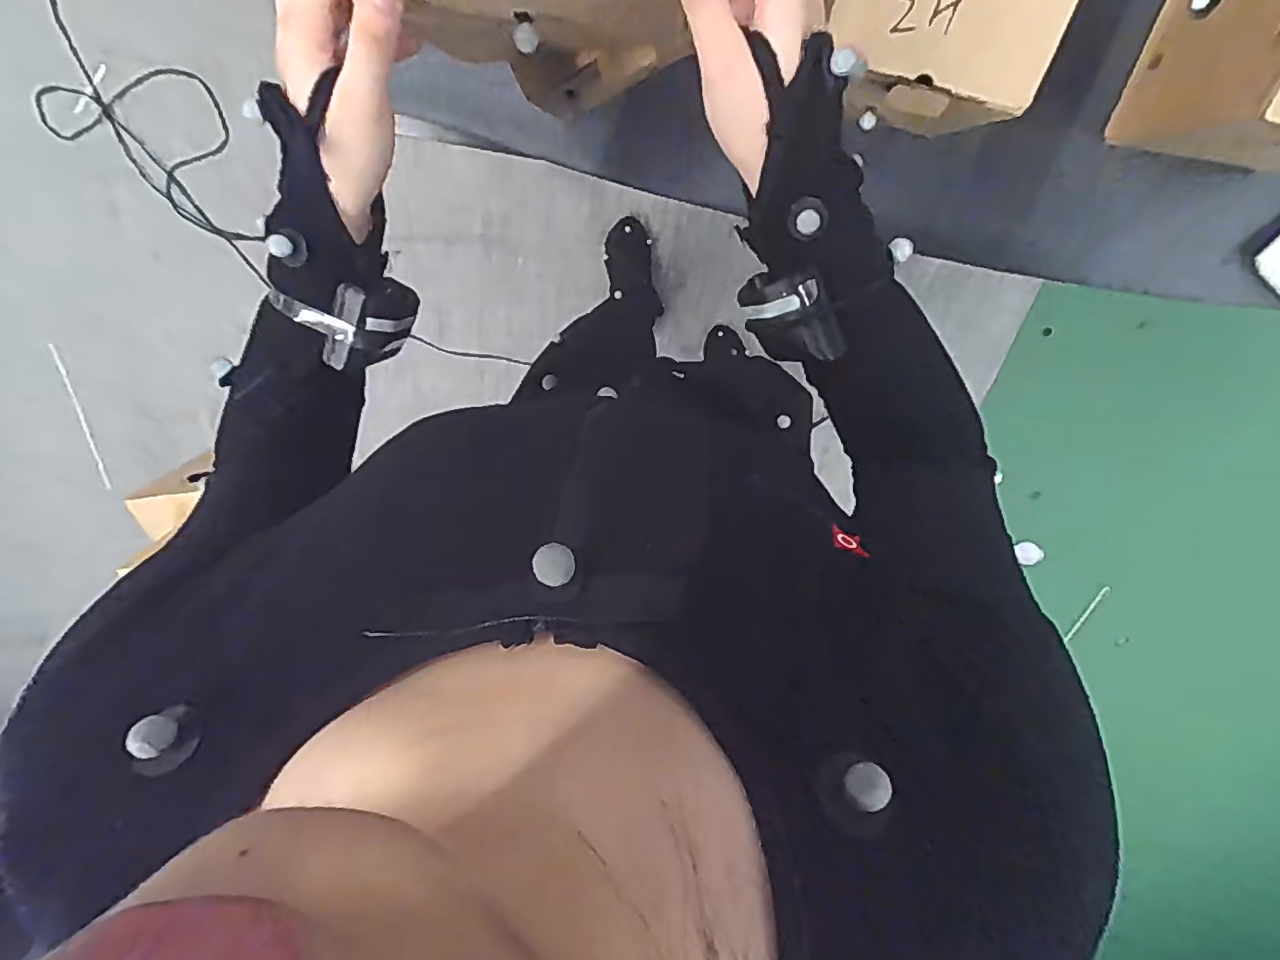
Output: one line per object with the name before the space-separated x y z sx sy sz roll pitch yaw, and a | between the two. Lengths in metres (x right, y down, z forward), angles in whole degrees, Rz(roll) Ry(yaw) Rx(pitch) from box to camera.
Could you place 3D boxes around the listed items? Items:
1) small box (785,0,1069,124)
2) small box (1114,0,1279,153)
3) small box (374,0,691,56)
small box | 0.229 -0.410 0.430 0.168 0.176 0.179 13 118 -2
small box | 0.557 -0.369 0.432 0.179 0.176 0.168 9 118 0
small box | -0.063 -0.355 0.294 0.179 0.176 0.168 -3 120 6
